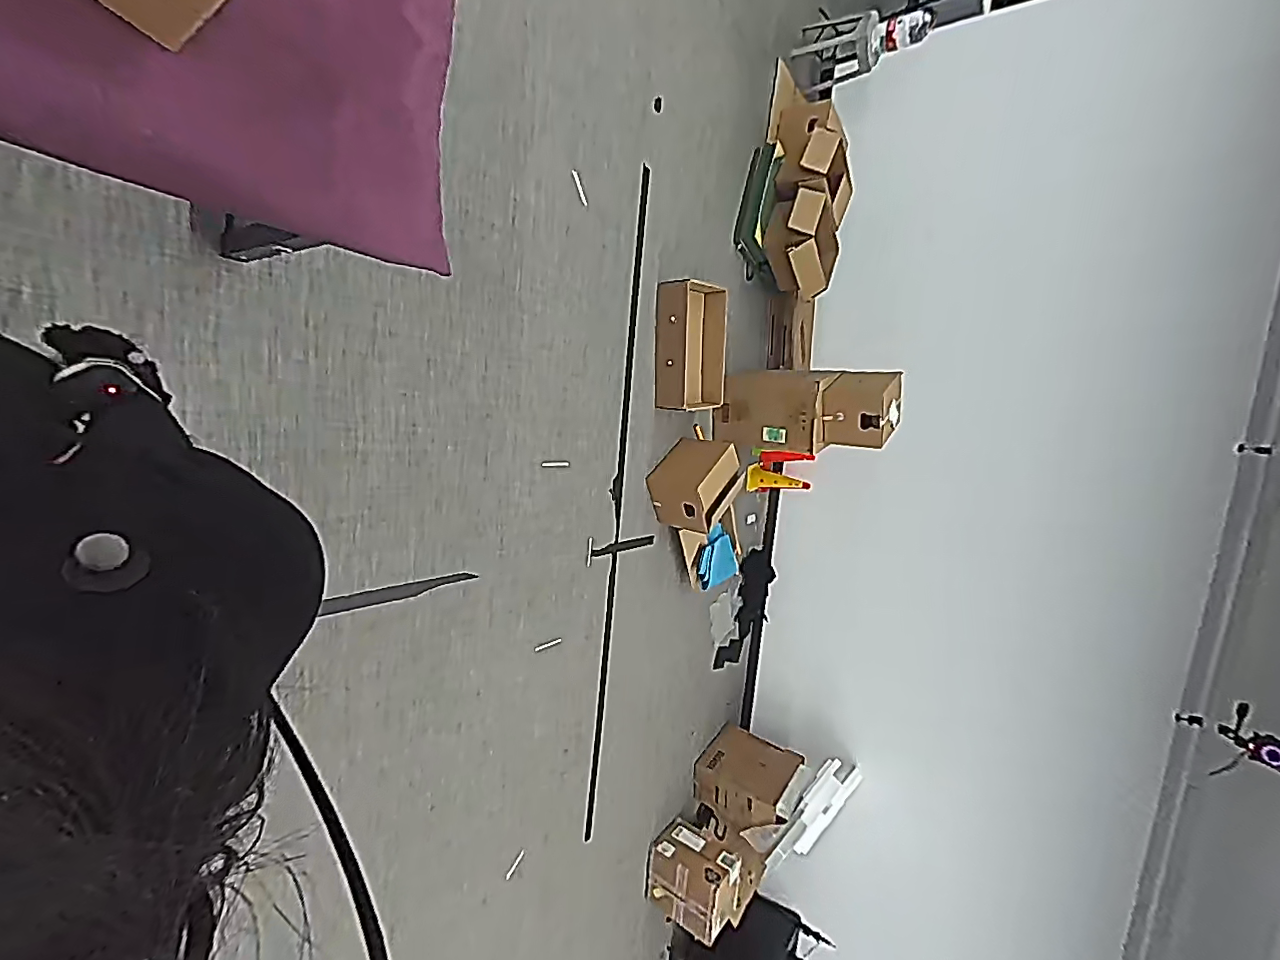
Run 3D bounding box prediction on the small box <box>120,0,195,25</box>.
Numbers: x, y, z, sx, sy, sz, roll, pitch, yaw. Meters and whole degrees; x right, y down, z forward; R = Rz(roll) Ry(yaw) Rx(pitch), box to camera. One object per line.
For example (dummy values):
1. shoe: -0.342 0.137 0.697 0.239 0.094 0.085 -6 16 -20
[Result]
1. small box: -0.473 -0.567 0.479 0.179 0.176 0.168 23 80 -55
